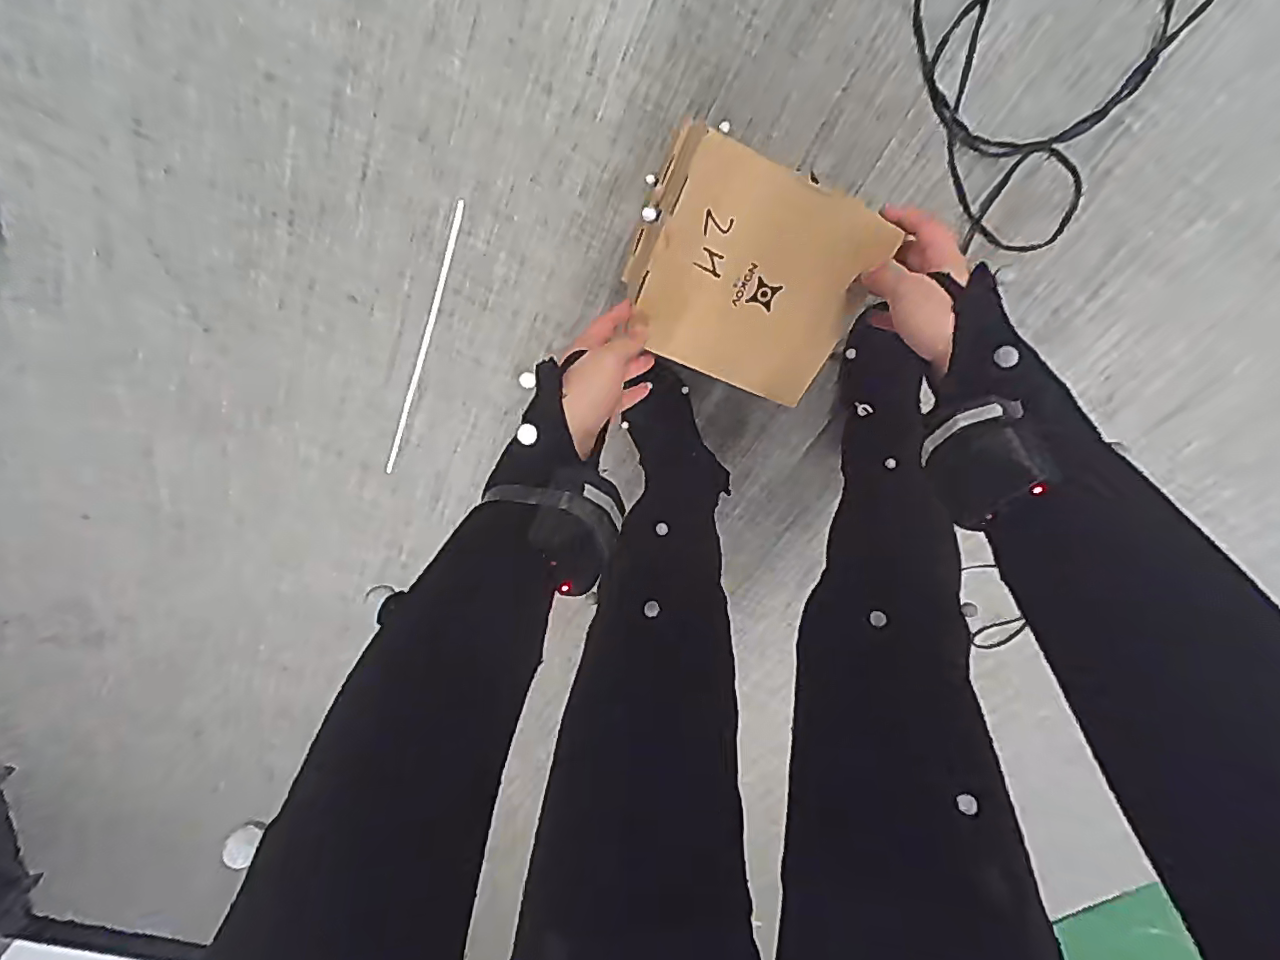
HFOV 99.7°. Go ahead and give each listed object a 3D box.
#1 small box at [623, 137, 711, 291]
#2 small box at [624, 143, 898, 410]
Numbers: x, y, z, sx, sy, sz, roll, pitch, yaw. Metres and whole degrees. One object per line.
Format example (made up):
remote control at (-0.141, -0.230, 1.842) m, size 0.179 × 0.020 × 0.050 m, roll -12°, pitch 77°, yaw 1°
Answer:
small box at (0.094, -0.295, 0.657) m, size 0.179 × 0.176 × 0.168 m, roll 21°, pitch 122°, yaw -11°
small box at (0.098, -0.199, 0.517) m, size 0.179 × 0.176 × 0.168 m, roll 20°, pitch 123°, yaw -12°
